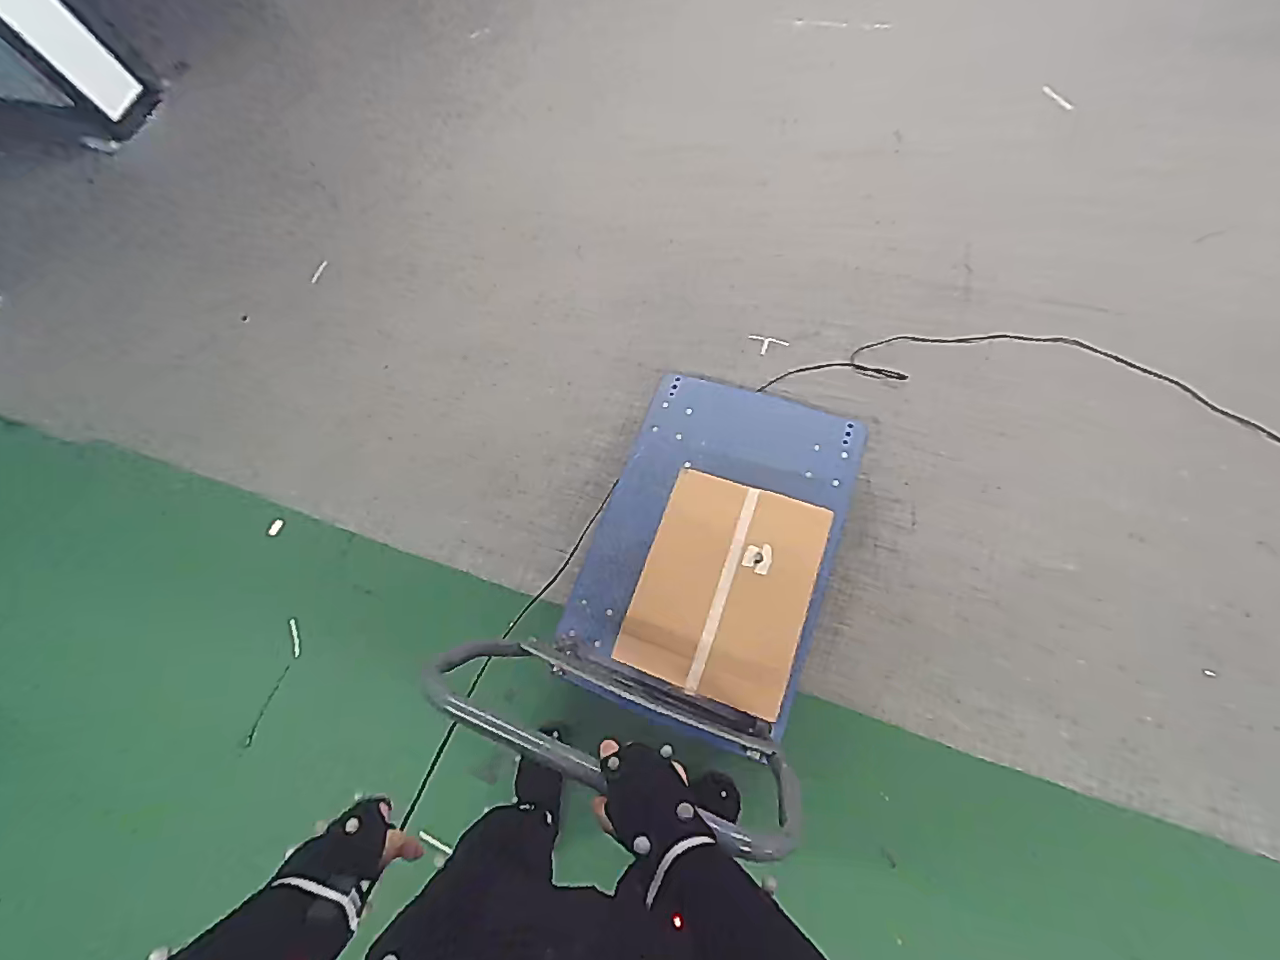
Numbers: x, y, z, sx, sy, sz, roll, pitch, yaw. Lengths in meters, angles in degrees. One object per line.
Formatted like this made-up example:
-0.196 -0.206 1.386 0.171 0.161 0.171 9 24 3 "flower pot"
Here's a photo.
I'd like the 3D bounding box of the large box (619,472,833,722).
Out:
0.186 0.256 1.159 0.320 0.320 0.408 18 72 13 "large box"
